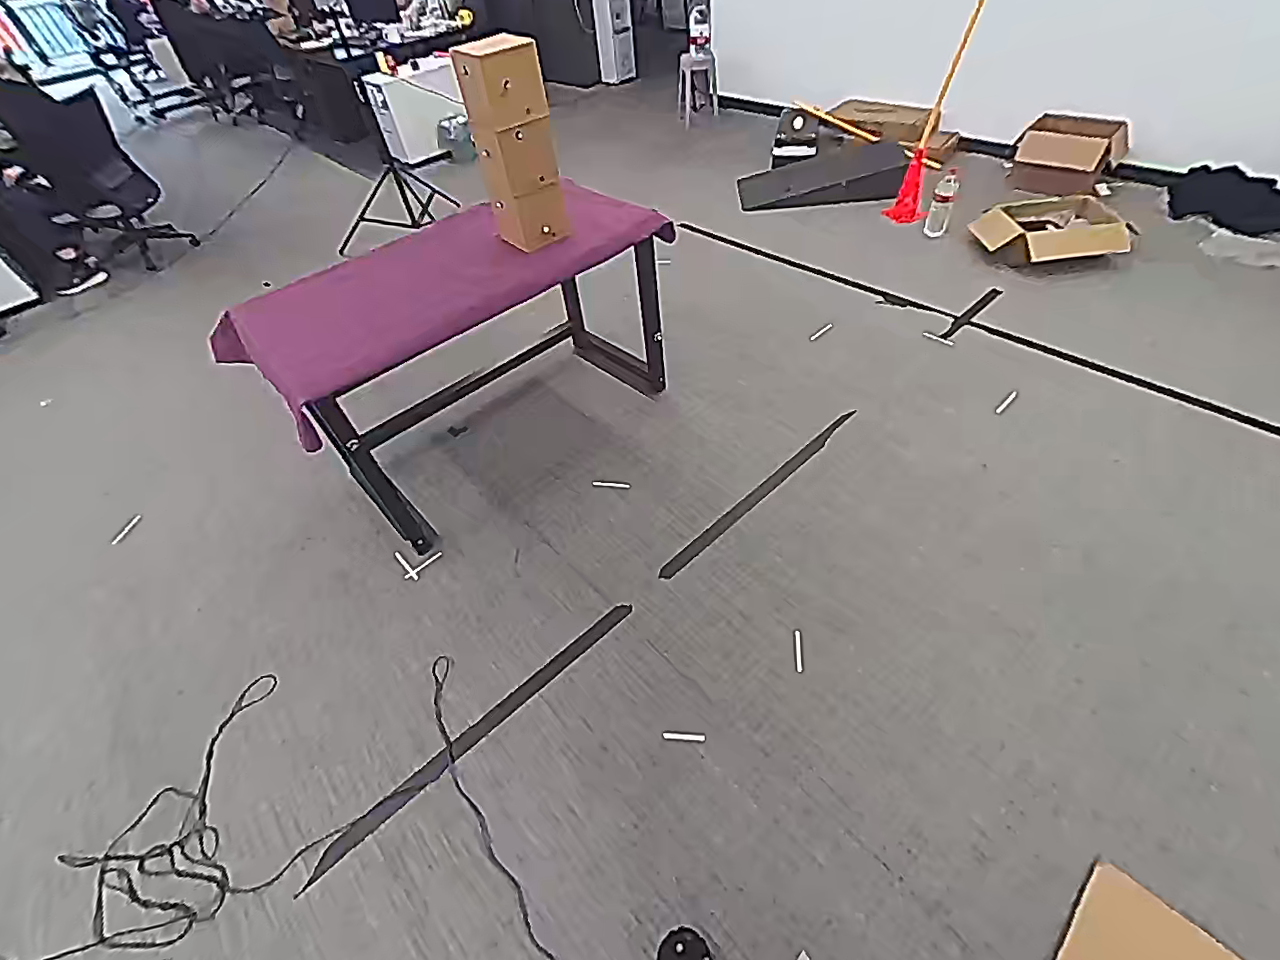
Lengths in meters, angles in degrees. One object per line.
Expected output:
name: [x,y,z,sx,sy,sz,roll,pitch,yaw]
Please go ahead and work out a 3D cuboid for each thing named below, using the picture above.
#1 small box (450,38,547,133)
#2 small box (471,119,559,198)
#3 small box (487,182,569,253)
small box: [-0.371,-1.046,1.441,0.168,0.176,0.179,-34,52,-20]
small box: [-0.359,-0.941,1.566,0.168,0.176,0.179,-33,52,-20]
small box: [-0.346,-0.836,1.691,0.168,0.176,0.179,-35,54,-21]
